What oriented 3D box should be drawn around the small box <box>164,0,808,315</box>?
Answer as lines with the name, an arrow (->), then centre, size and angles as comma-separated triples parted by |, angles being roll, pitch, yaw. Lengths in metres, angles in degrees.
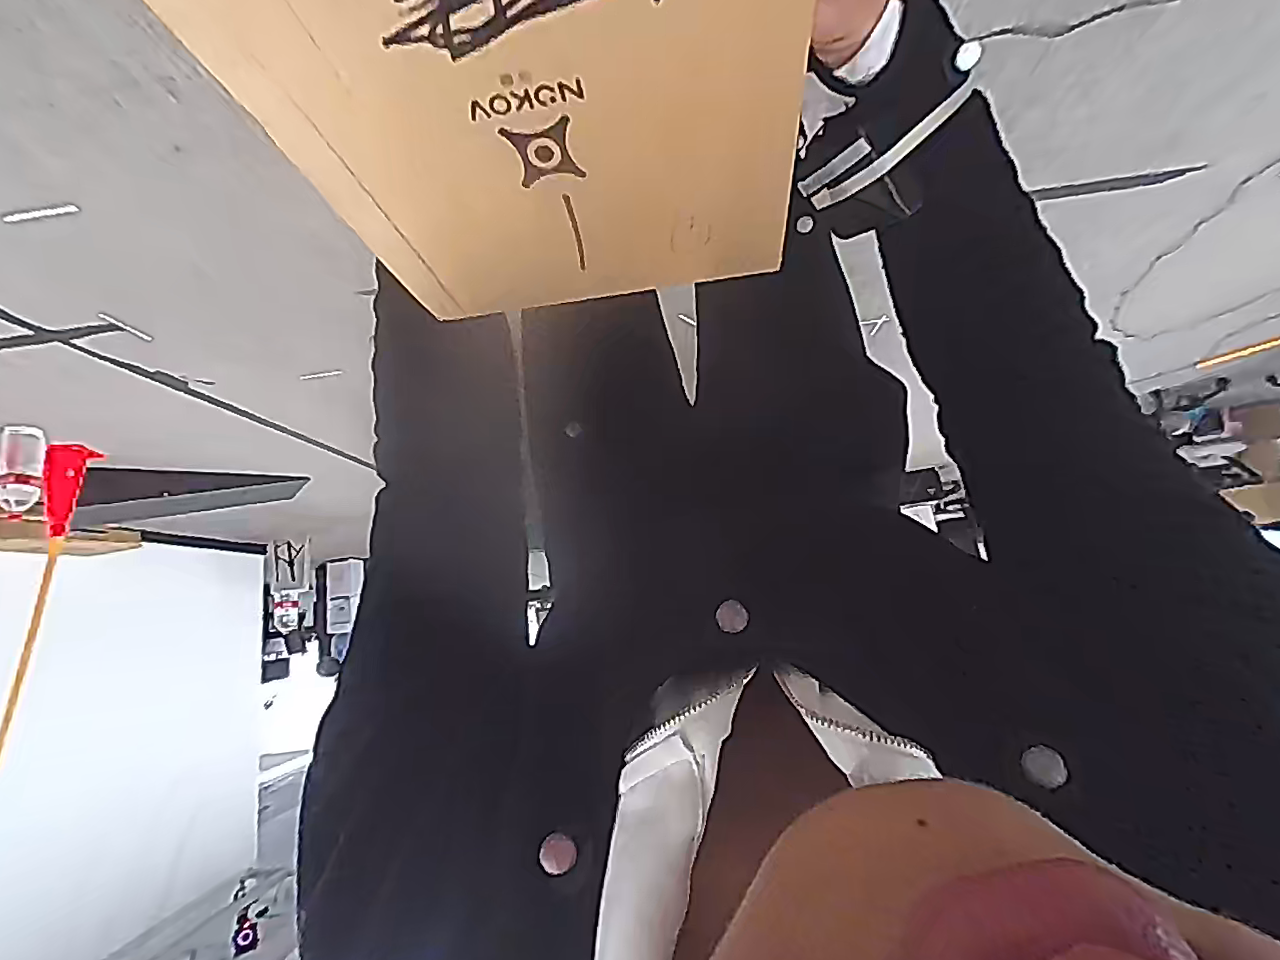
small box -> -0.037, -0.192, 0.199 | 0.168, 0.176, 0.179 | -6, 163, 7
